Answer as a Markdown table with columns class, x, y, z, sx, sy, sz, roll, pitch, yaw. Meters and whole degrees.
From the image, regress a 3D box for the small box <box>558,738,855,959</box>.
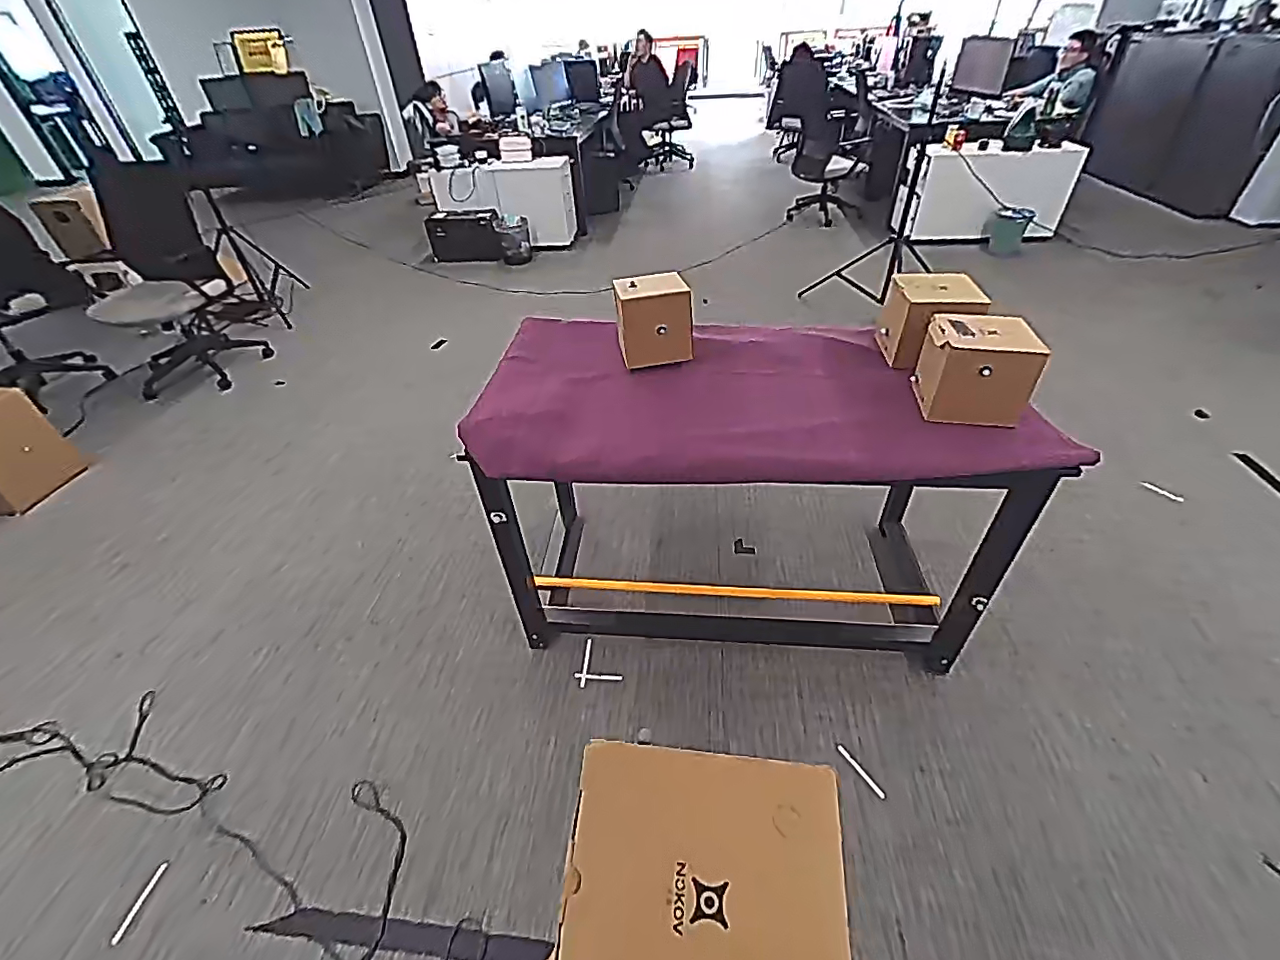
| class | x | y | z | sx | sy | sz | roll | pitch | yaw |
| --- | --- | --- | --- | --- | --- | --- | --- | --- | --- |
| small box | 0.047 | 0.299 | 0.398 | 0.179 | 0.176 | 0.168 | 2 | 57 | 8 |

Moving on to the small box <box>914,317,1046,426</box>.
| class | x | y | z | sx | sy | sz | roll | pitch | yaw |
| --- | --- | --- | --- | --- | --- | --- | --- | --- | --- |
| small box | 0.690 | -0.226 | 1.126 | 0.179 | 0.176 | 0.168 | 5 | 40 | 10 |

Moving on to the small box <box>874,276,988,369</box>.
| class | x | y | z | sx | sy | sz | roll | pitch | yaw |
| --- | --- | --- | --- | --- | --- | --- | --- | --- | --- |
| small box | 0.691 | -0.379 | 1.306 | 0.179 | 0.176 | 0.168 | 1 | 41 | 6 |
